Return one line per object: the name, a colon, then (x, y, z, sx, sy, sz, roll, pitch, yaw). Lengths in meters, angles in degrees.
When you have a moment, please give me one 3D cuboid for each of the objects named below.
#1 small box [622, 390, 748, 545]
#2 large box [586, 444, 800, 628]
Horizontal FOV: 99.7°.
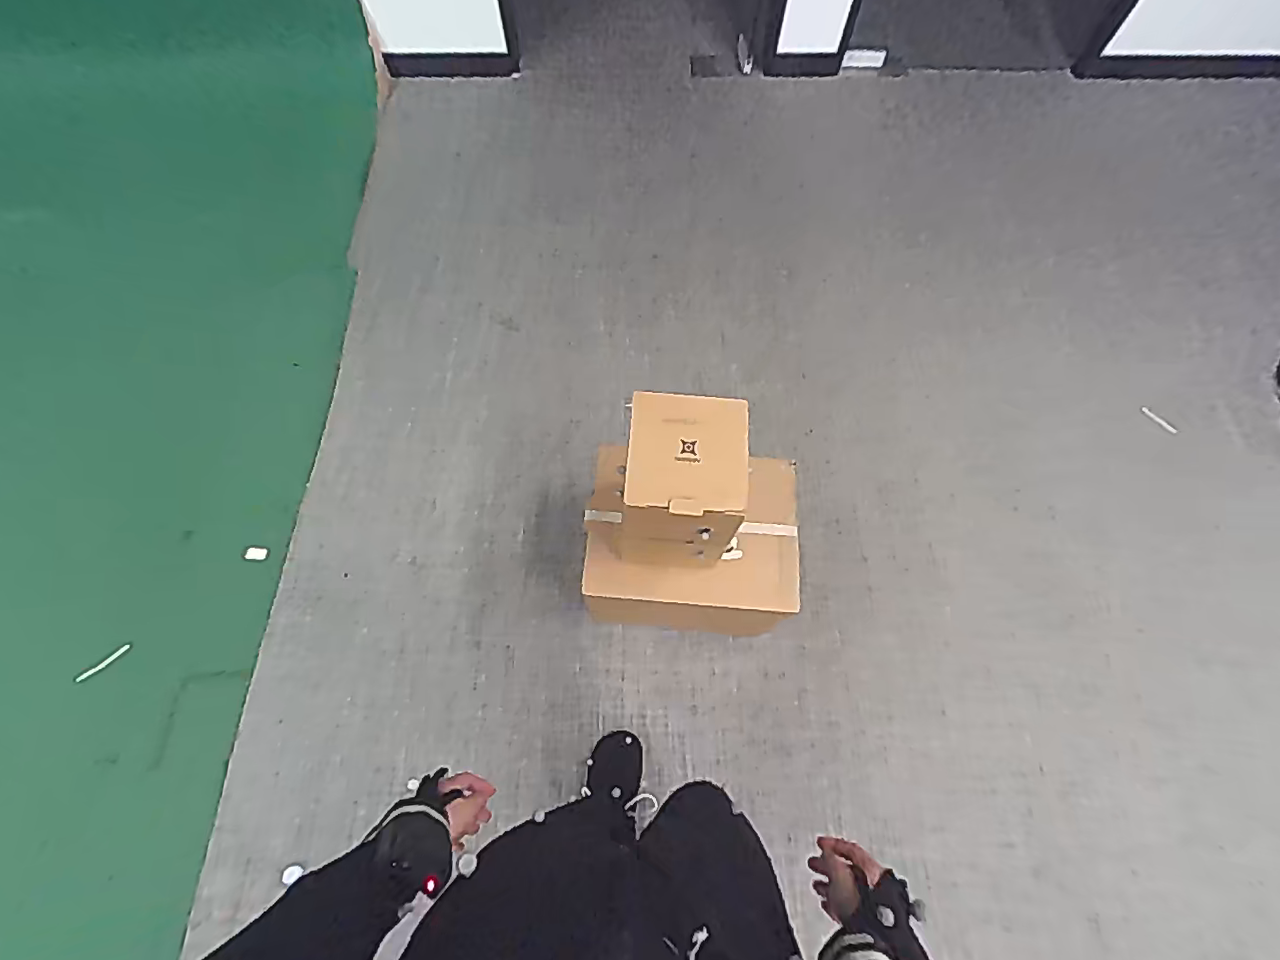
small box: (0.062, -0.011, 0.803, 0.168, 0.176, 0.179, 5, 66, -1)
large box: (0.100, 0.137, 1.183, 0.408, 0.320, 0.320, 5, 68, 0)
